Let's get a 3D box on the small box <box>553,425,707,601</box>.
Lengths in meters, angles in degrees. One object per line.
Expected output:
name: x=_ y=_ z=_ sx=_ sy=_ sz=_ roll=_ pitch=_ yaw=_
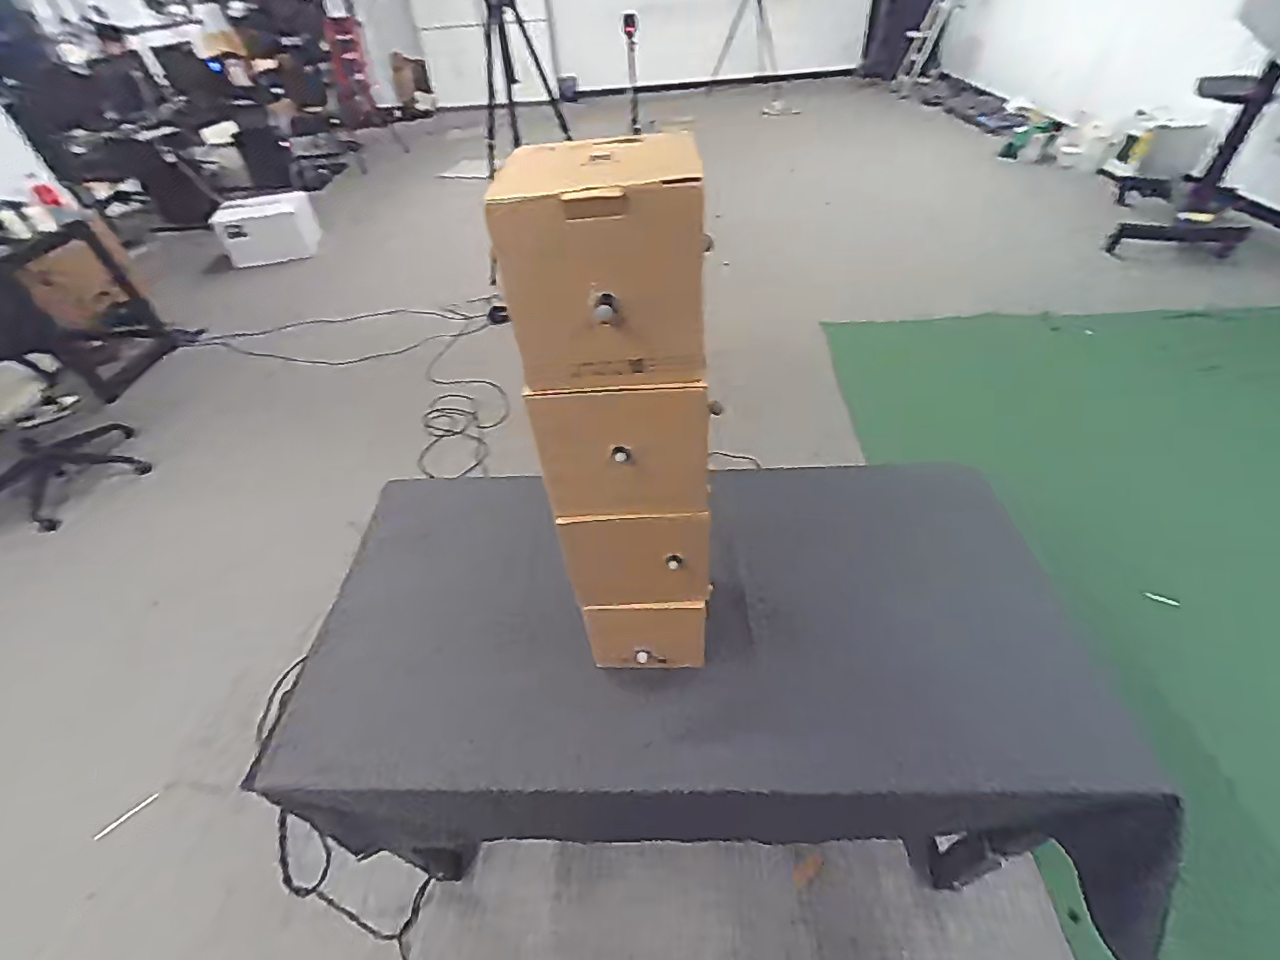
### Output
small box: x=-0.007 y=0.045 z=0.718 sx=0.179 sy=0.176 sz=0.168 roll=-3 pitch=42 yaw=3

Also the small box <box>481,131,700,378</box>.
small box: x=-0.031 y=-0.207 z=0.511 sx=0.168 sy=0.176 sz=0.179 roll=-3 pitch=43 yaw=3

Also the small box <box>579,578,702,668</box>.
small box: x=0.008 y=0.166 z=0.827 sx=0.168 sy=0.176 sz=0.179 roll=-1 pitch=44 yaw=4
